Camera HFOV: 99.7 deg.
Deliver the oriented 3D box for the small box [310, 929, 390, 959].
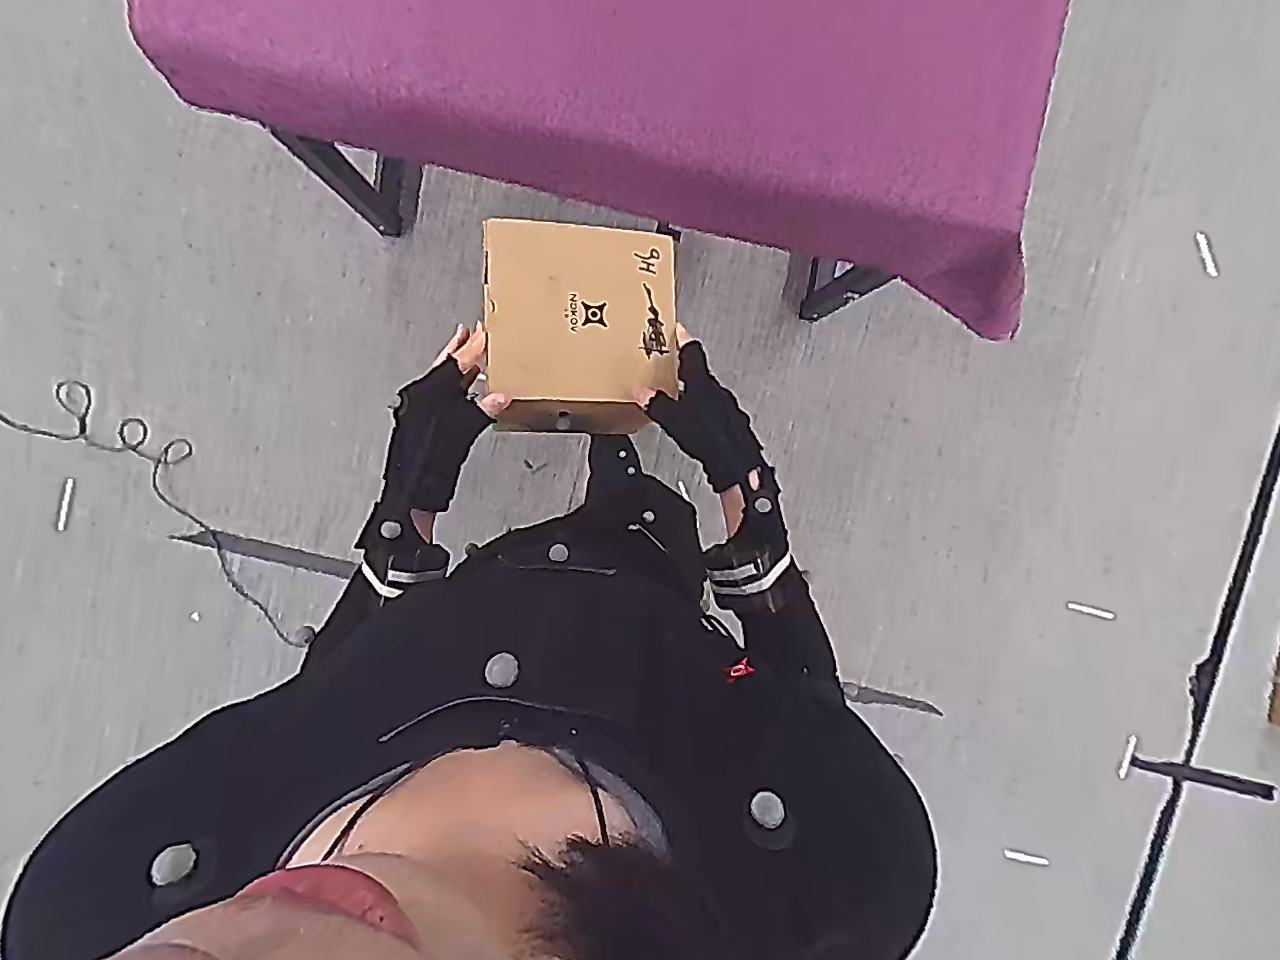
[{"bbox_3d":[-0.783,1.322,1.410,0.179,0.176,0.168,12,94,-7],"label":"small box"}]
